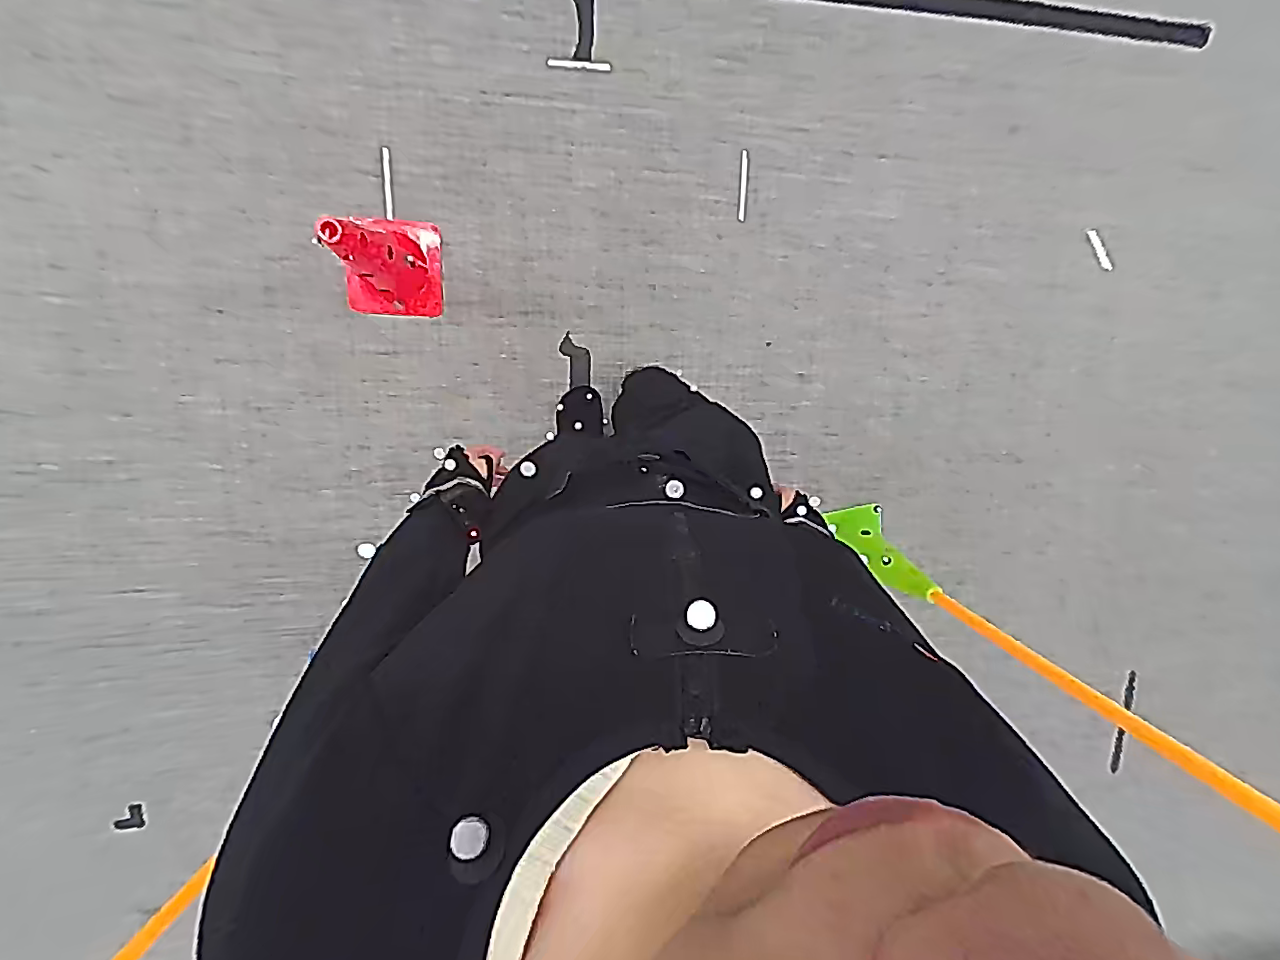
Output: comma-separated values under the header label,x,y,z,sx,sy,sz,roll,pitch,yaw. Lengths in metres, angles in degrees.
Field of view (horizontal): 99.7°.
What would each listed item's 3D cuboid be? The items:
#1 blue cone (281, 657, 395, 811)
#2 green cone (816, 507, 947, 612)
label,x,y,z,sx,sy,sz,roll,pitch,yaw
blue cone,-0.701,0.572,1.215,0.193,0.380,0.192,2,102,-9
green cone,0.613,0.222,1.338,0.200,0.368,0.202,-11,105,-6
